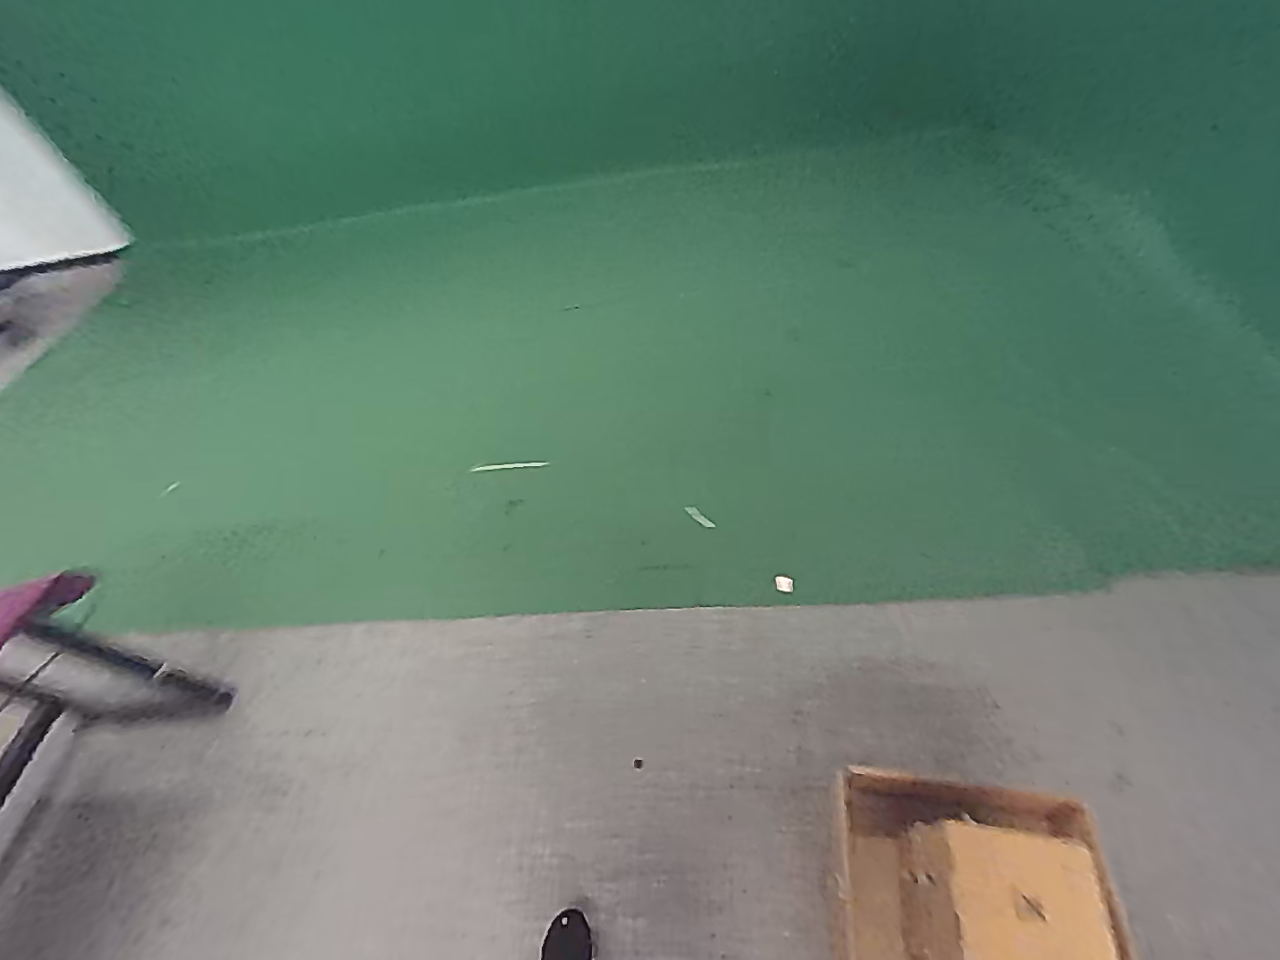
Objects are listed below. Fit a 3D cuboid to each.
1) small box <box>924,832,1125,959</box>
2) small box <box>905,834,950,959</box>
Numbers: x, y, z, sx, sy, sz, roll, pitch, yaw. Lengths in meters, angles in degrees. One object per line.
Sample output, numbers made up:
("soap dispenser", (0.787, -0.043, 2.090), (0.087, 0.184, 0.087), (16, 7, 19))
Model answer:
("small box", (0.512, 0.600, 0.739), (0.179, 0.176, 0.168), (2, 53, 14))
("small box", (0.536, 0.698, 0.869), (0.168, 0.176, 0.179), (4, 53, 15))
